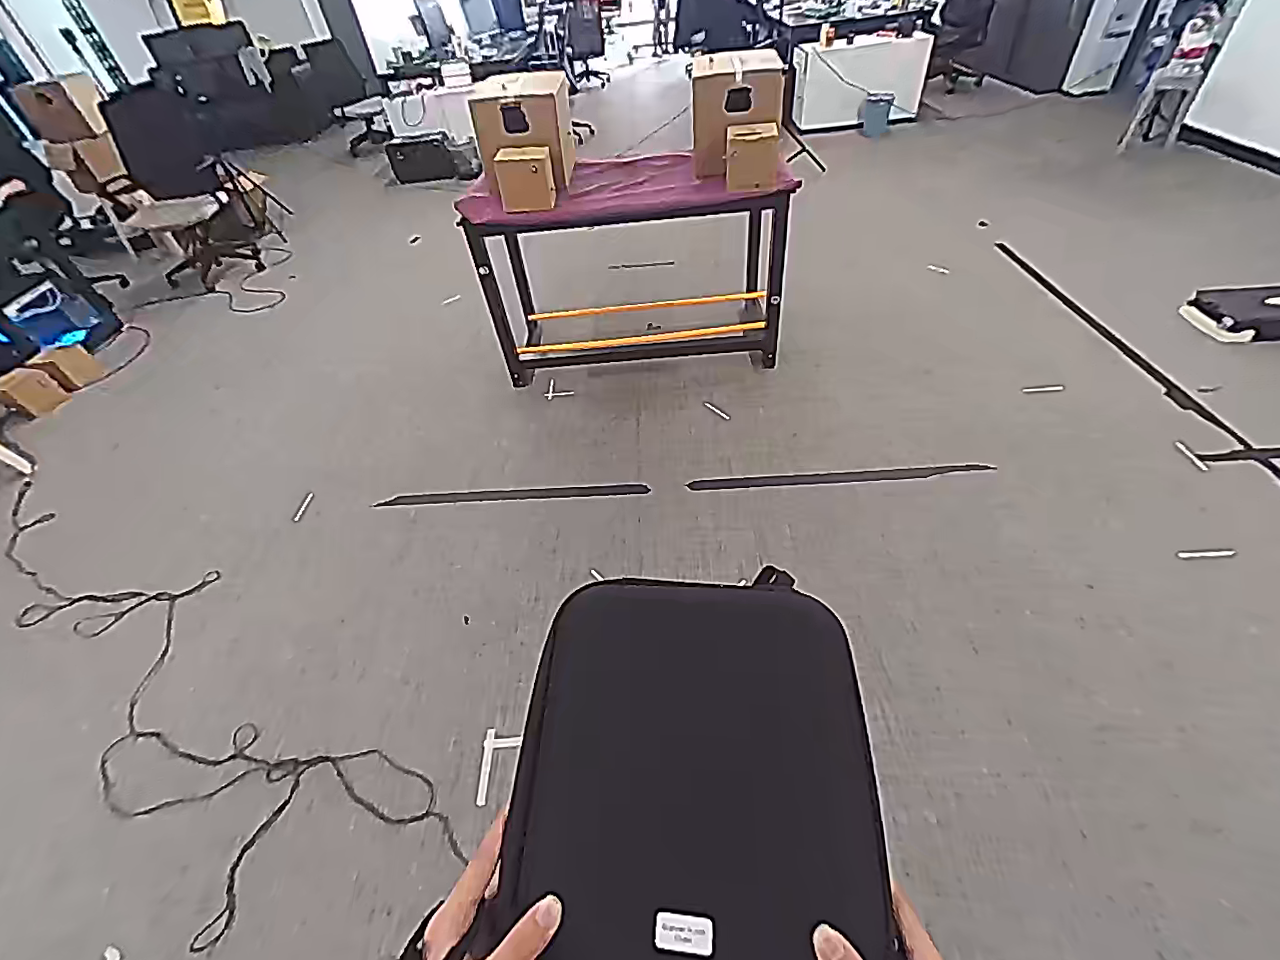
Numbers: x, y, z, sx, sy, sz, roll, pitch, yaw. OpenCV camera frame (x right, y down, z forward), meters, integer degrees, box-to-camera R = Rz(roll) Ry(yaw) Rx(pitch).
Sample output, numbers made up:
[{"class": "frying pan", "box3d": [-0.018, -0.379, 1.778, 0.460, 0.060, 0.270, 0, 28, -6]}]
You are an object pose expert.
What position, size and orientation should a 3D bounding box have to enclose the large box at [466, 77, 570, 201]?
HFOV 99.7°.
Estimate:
[{"class": "large box", "box3d": [-0.454, -1.343, 2.120, 0.320, 0.320, 0.408, -4, 47, 2]}]
